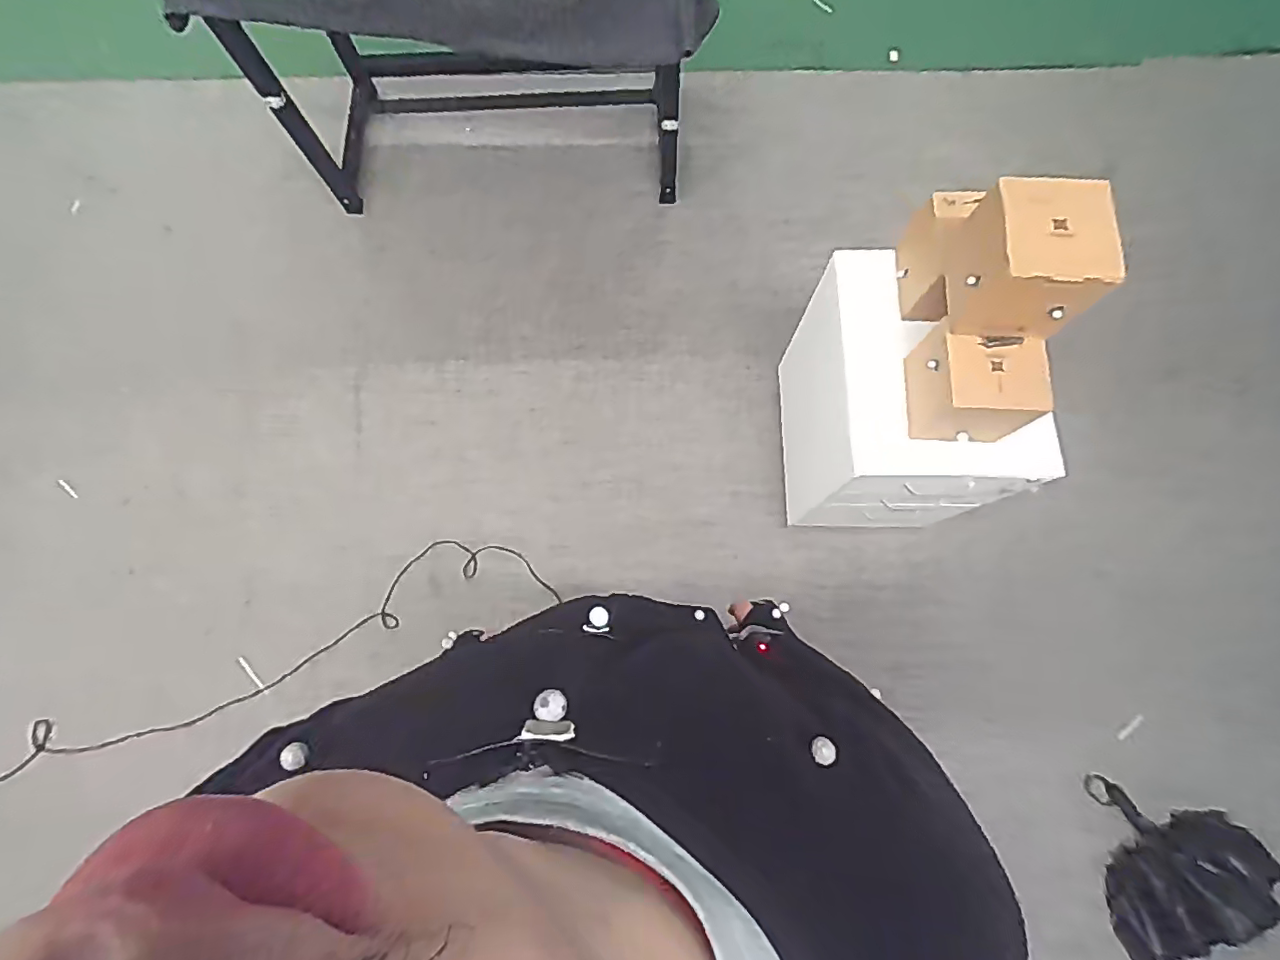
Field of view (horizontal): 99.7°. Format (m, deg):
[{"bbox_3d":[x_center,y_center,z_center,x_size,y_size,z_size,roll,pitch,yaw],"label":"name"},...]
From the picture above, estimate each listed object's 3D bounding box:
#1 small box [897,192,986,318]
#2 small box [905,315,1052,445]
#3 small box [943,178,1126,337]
[{"bbox_3d":[0.622,-0.429,1.056,0.168,0.176,0.179,1,78,1],"label":"small box"},{"bbox_3d":[0.605,-0.178,0.991,0.168,0.176,0.179,3,76,3],"label":"small box"},{"bbox_3d":[0.615,-0.347,0.868,0.168,0.176,0.179,3,75,1],"label":"small box"}]
